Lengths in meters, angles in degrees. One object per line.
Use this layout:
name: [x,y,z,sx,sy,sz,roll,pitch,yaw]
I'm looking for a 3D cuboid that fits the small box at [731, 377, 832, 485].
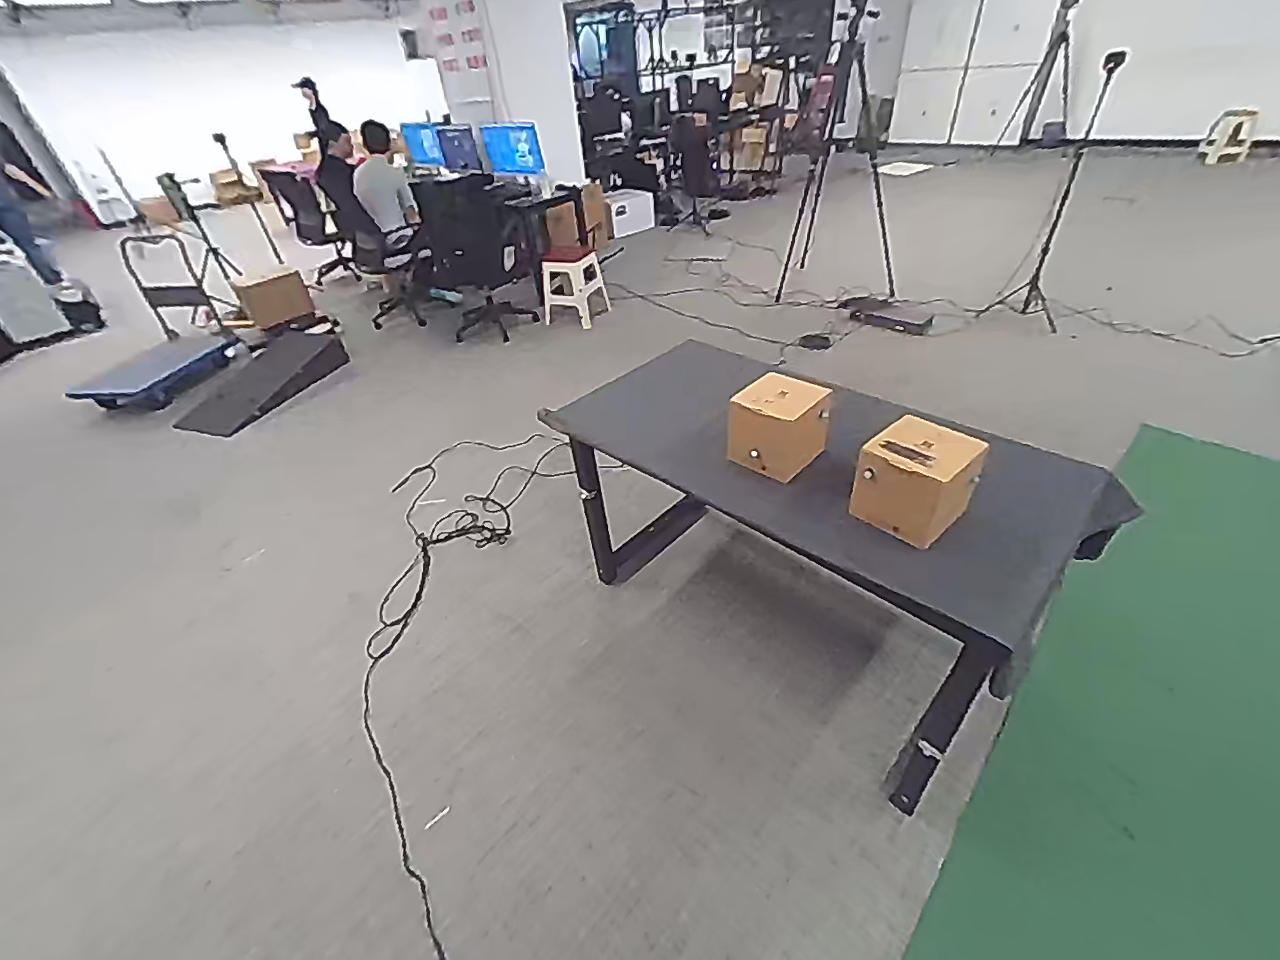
small box: [0.326,-0.117,1.277,0.168,0.176,0.179,28,48,36]
